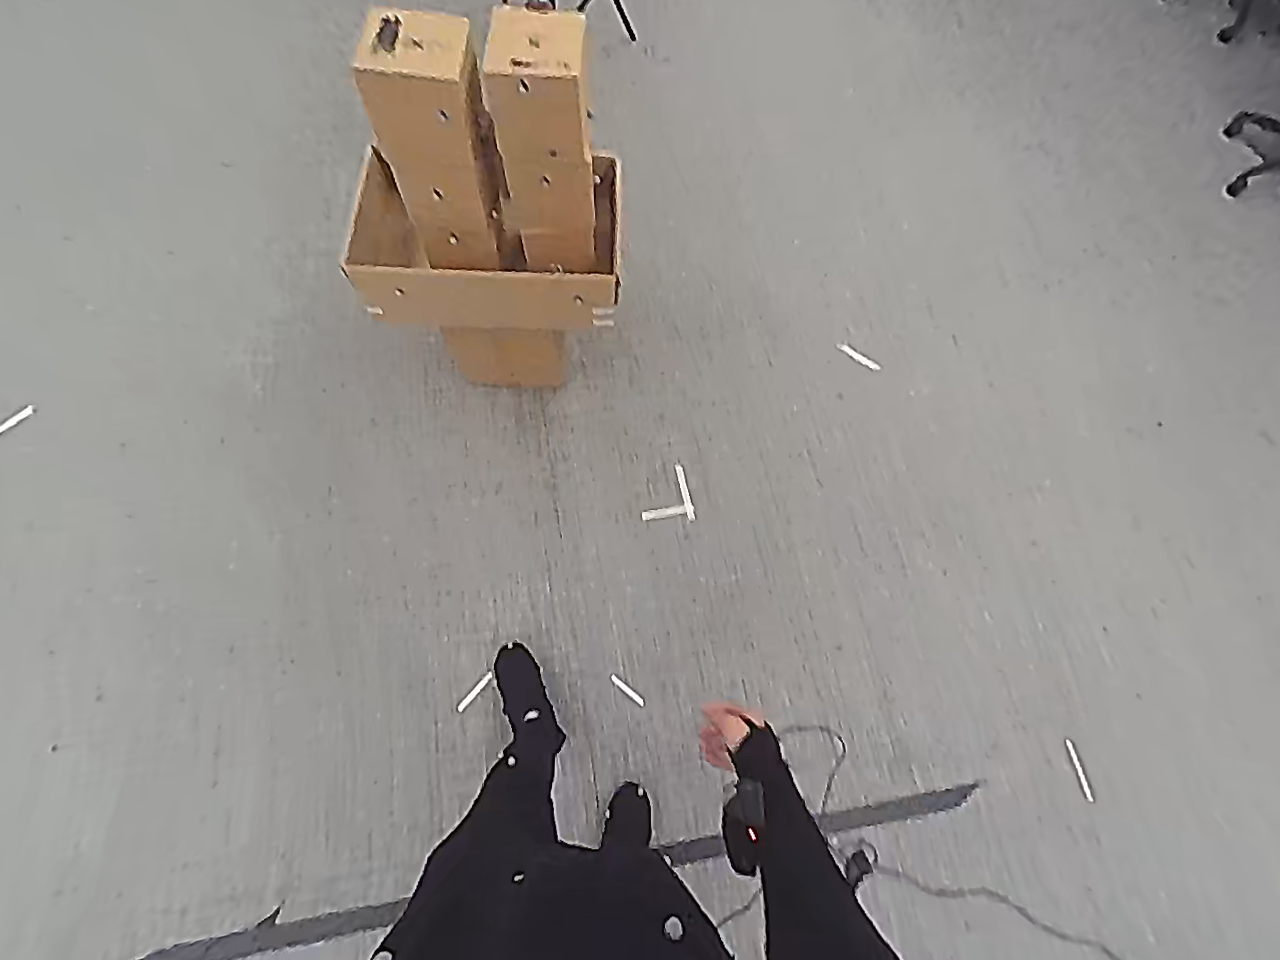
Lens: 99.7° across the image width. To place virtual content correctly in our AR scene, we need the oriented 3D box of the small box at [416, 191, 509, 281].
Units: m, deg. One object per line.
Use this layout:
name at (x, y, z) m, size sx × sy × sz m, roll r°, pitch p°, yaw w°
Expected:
small box at (-0.420, -0.605, 1.311) m, size 0.179 × 0.176 × 0.168 m, roll 2°, pitch 69°, yaw -4°

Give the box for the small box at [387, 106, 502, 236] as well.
small box at (-0.403, -0.650, 1.154) m, size 0.179 × 0.176 × 0.168 m, roll 7°, pitch 68°, yaw -2°
